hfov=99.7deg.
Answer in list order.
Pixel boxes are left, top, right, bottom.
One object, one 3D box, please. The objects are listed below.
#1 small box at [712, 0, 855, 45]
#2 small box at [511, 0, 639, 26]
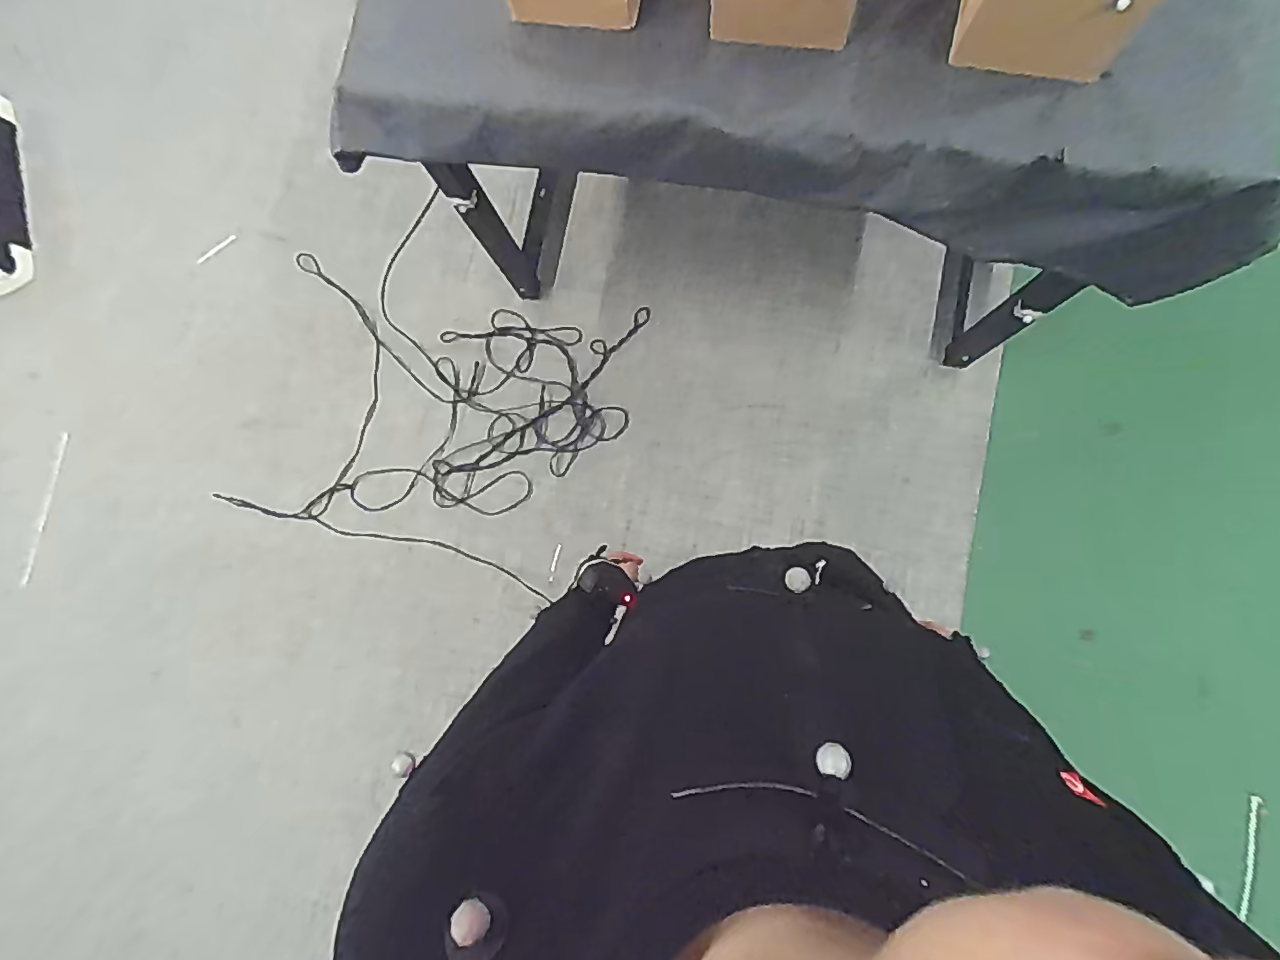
[{"bbox_3d":[0.185,-0.660,0.636,0.179,0.176,0.168,10,83,9],"label":"small box"},{"bbox_3d":[-0.087,-0.716,0.674,0.179,0.176,0.168,10,84,7],"label":"small box"}]
